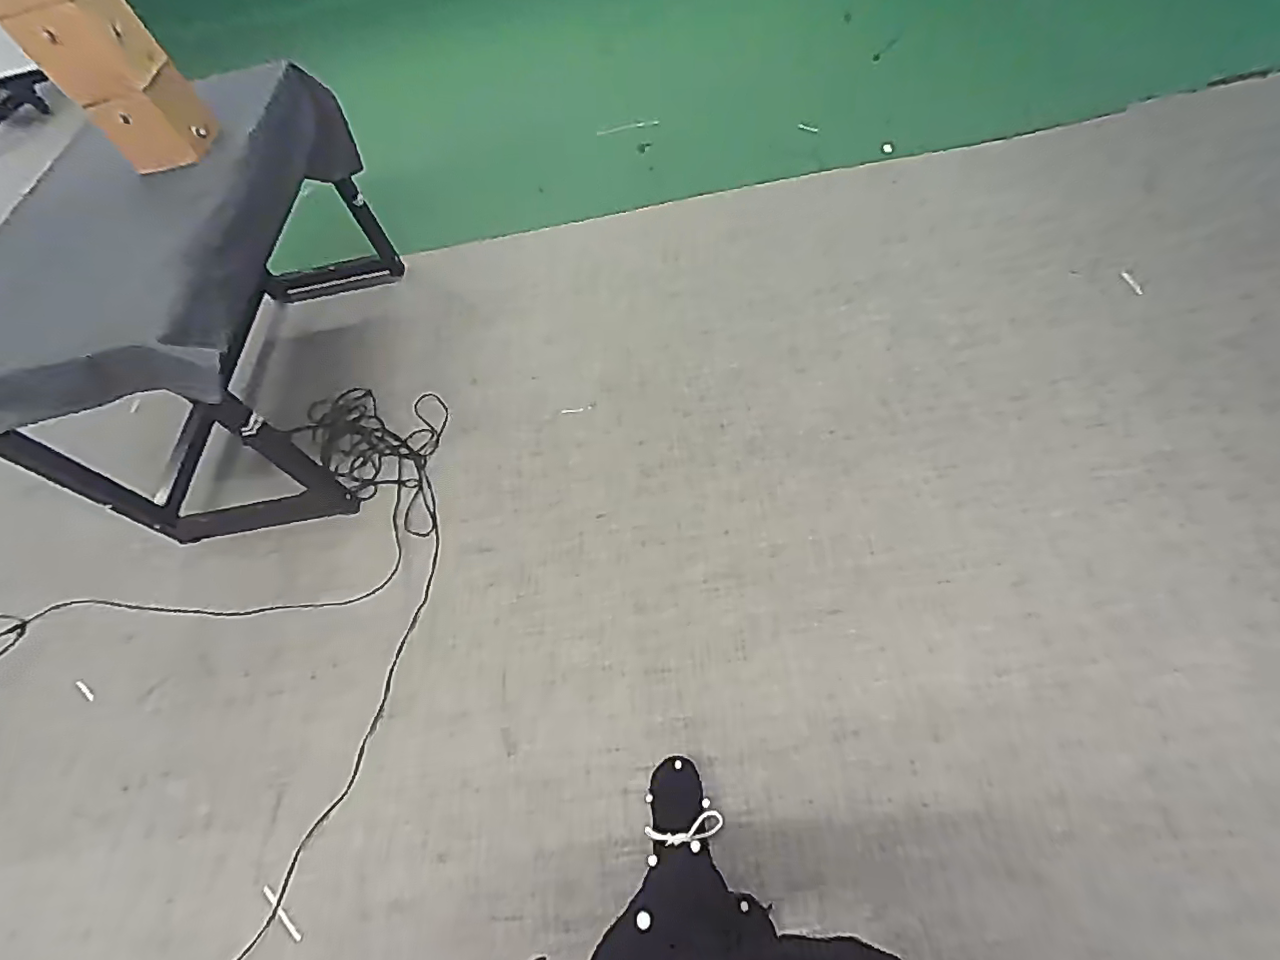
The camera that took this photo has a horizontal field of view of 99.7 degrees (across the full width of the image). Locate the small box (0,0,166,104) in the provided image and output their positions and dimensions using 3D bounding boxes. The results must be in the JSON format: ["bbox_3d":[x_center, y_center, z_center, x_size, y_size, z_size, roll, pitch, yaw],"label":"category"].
[{"bbox_3d":[-1.220,-0.978,1.200,0.179,0.176,0.168,-10,60,5],"label":"small box"}]

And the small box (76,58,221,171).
[{"bbox_3d":[-1.204,-0.899,1.341,0.179,0.176,0.168,-8,60,4],"label":"small box"}]
